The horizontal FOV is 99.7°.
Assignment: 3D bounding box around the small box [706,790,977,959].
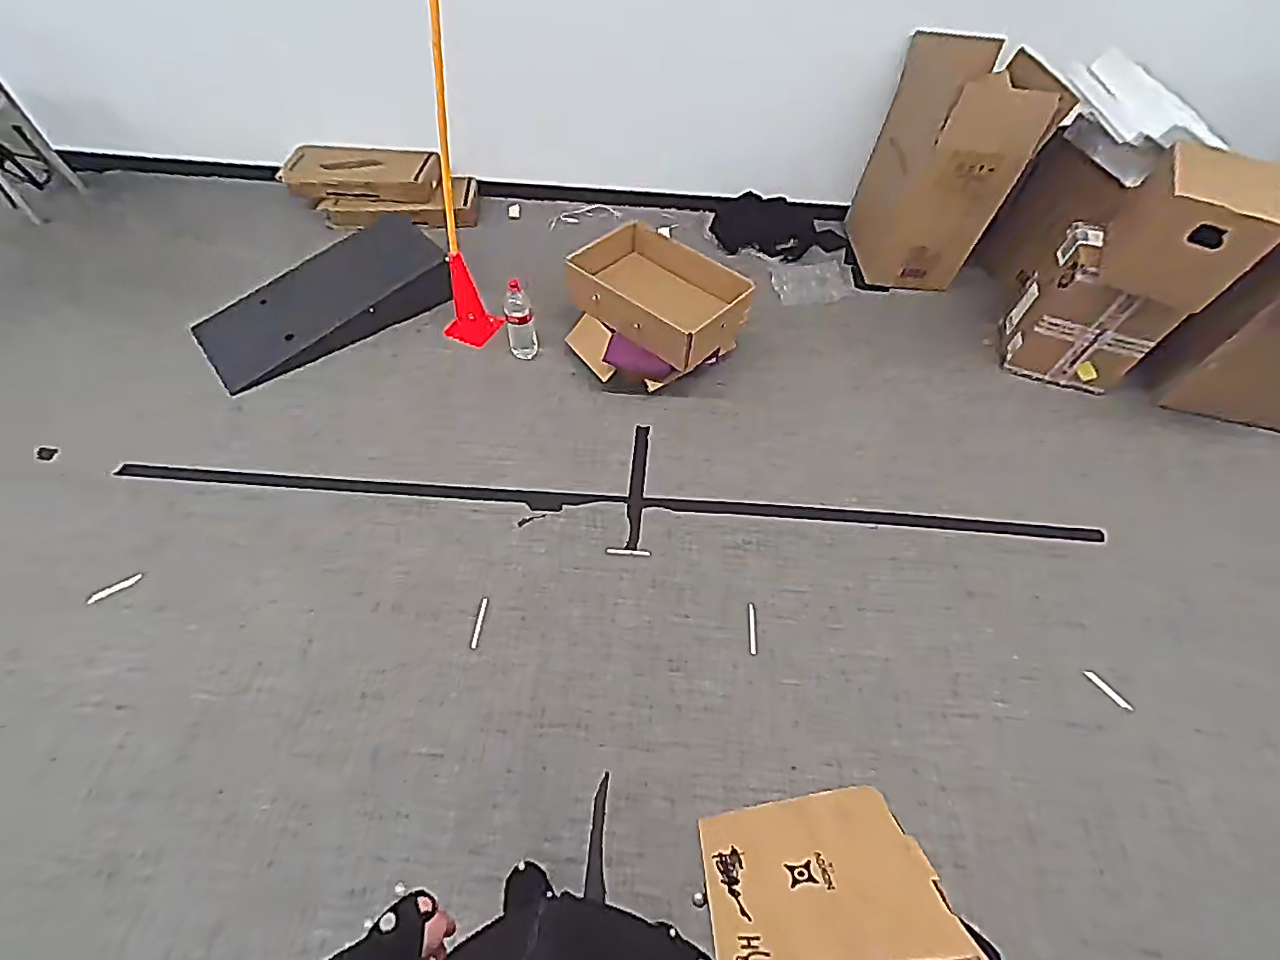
[{"bbox_3d":[0.162,0.407,0.459,0.179,0.168,0.176,-11,96,2],"label":"small box"}]
